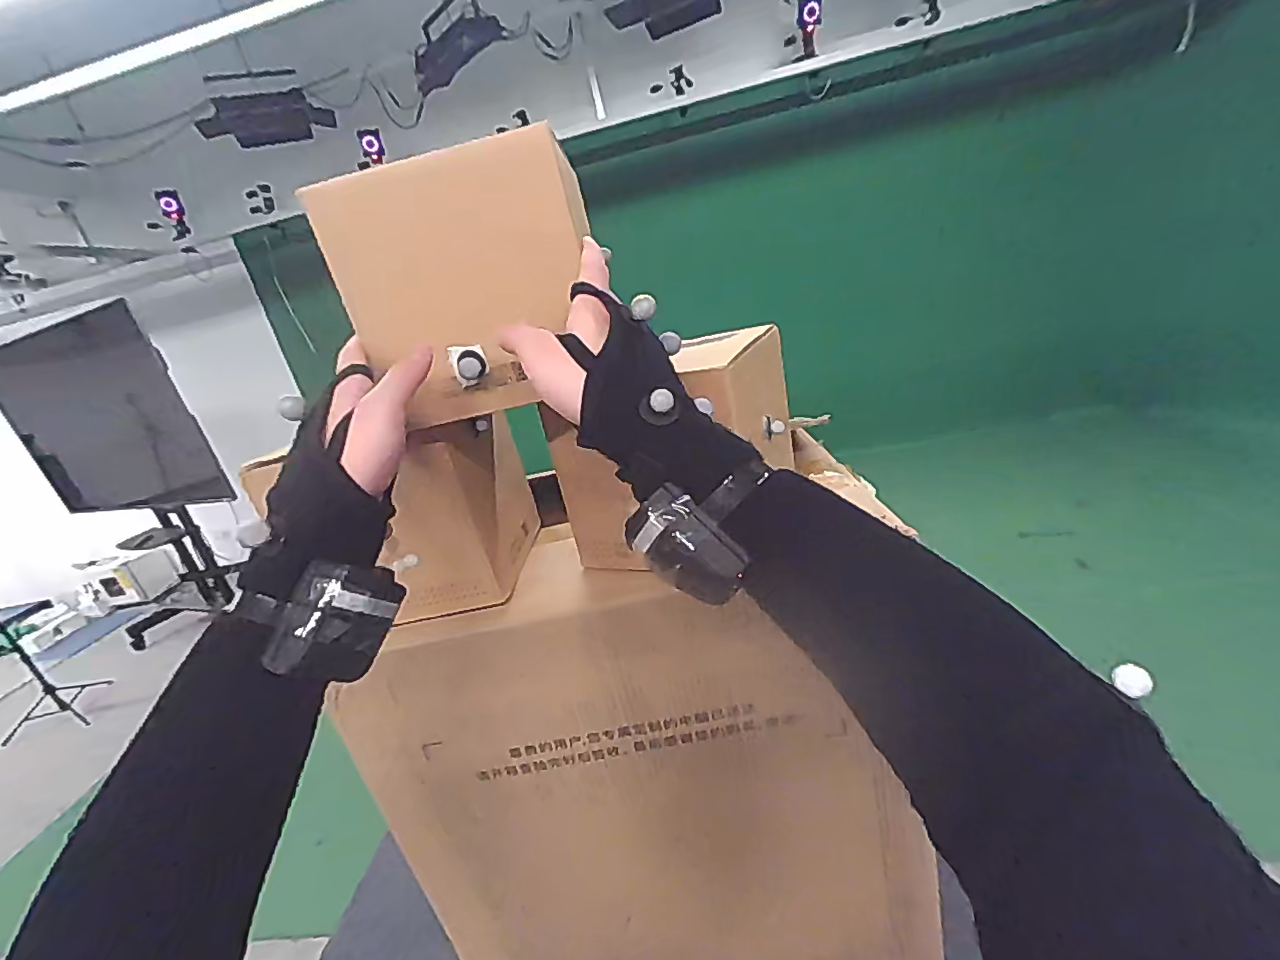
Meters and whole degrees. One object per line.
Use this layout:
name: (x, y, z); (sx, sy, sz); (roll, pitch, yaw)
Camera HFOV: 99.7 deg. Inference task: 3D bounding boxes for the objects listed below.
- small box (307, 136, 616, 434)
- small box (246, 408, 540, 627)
small box: (-0.120, -0.149, 0.445); (0.168, 0.176, 0.179); (-14, 21, 3)
small box: (-0.218, 0.023, 0.532); (0.179, 0.176, 0.168); (-13, 21, 6)
